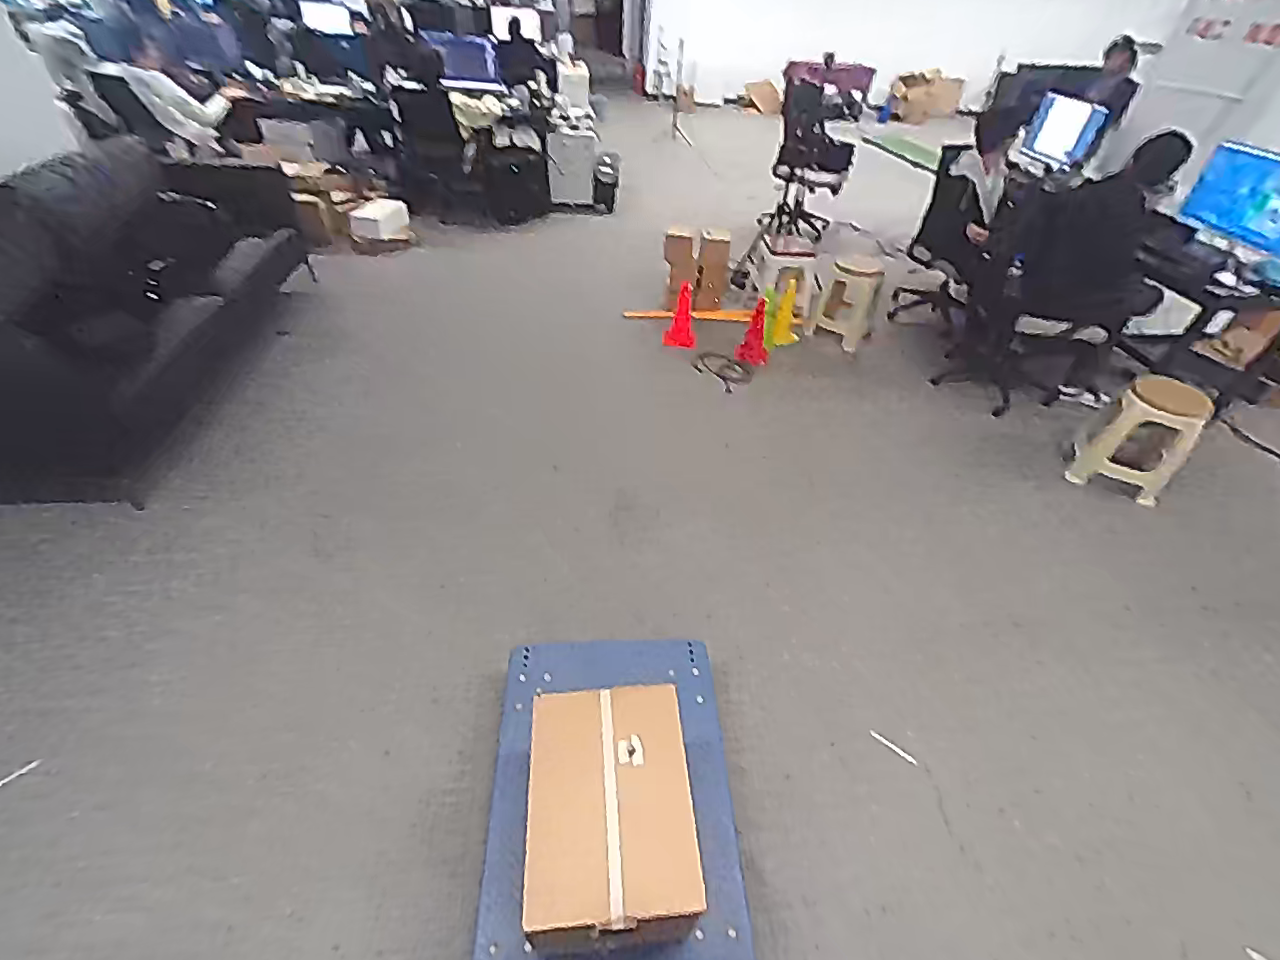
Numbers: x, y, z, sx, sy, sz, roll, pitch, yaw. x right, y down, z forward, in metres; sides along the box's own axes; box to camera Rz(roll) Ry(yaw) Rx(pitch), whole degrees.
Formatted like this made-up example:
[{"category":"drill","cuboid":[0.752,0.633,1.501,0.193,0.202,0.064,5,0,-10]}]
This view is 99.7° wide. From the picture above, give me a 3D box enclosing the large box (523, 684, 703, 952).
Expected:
[{"category":"large box","cuboid":[-0.068,0.711,1.157,0.320,0.320,0.408,-2,43,-6]}]
